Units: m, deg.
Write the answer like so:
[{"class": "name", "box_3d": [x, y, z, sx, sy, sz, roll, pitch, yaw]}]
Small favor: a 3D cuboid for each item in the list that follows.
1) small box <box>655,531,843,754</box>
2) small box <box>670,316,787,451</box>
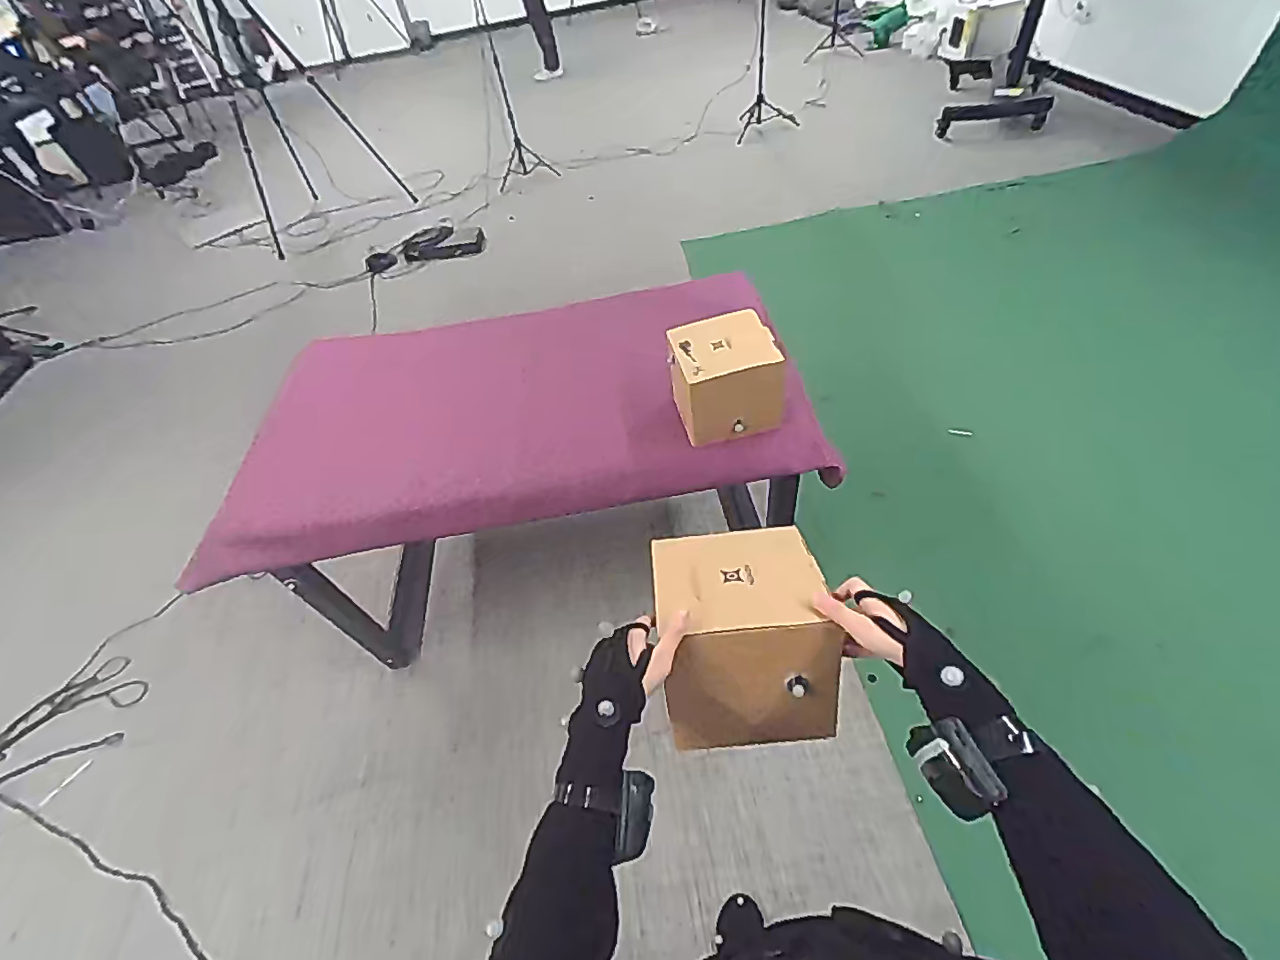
[{"class": "small box", "box_3d": [0.111, 0.178, 0.605, 0.179, 0.176, 0.168, -6, 26, 4]}, {"class": "small box", "box_3d": [0.164, -0.181, 1.033, 0.179, 0.176, 0.168, -14, 49, -1]}]
